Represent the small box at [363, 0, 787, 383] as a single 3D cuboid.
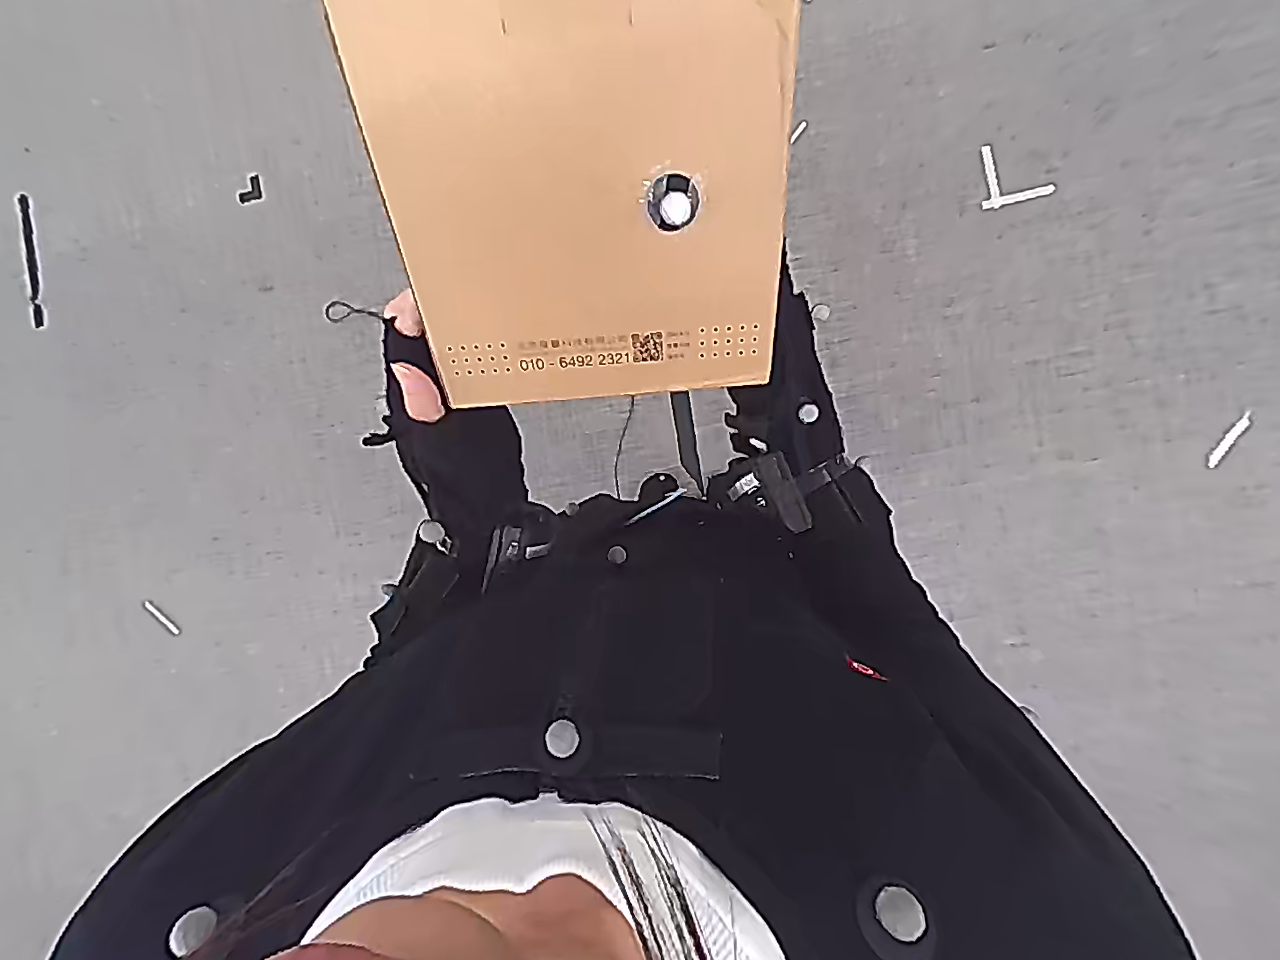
[{"bbox_3d":[-0.020,-0.165,0.314,0.168,0.179,0.176,-4,127,1],"label":"small box"}]
